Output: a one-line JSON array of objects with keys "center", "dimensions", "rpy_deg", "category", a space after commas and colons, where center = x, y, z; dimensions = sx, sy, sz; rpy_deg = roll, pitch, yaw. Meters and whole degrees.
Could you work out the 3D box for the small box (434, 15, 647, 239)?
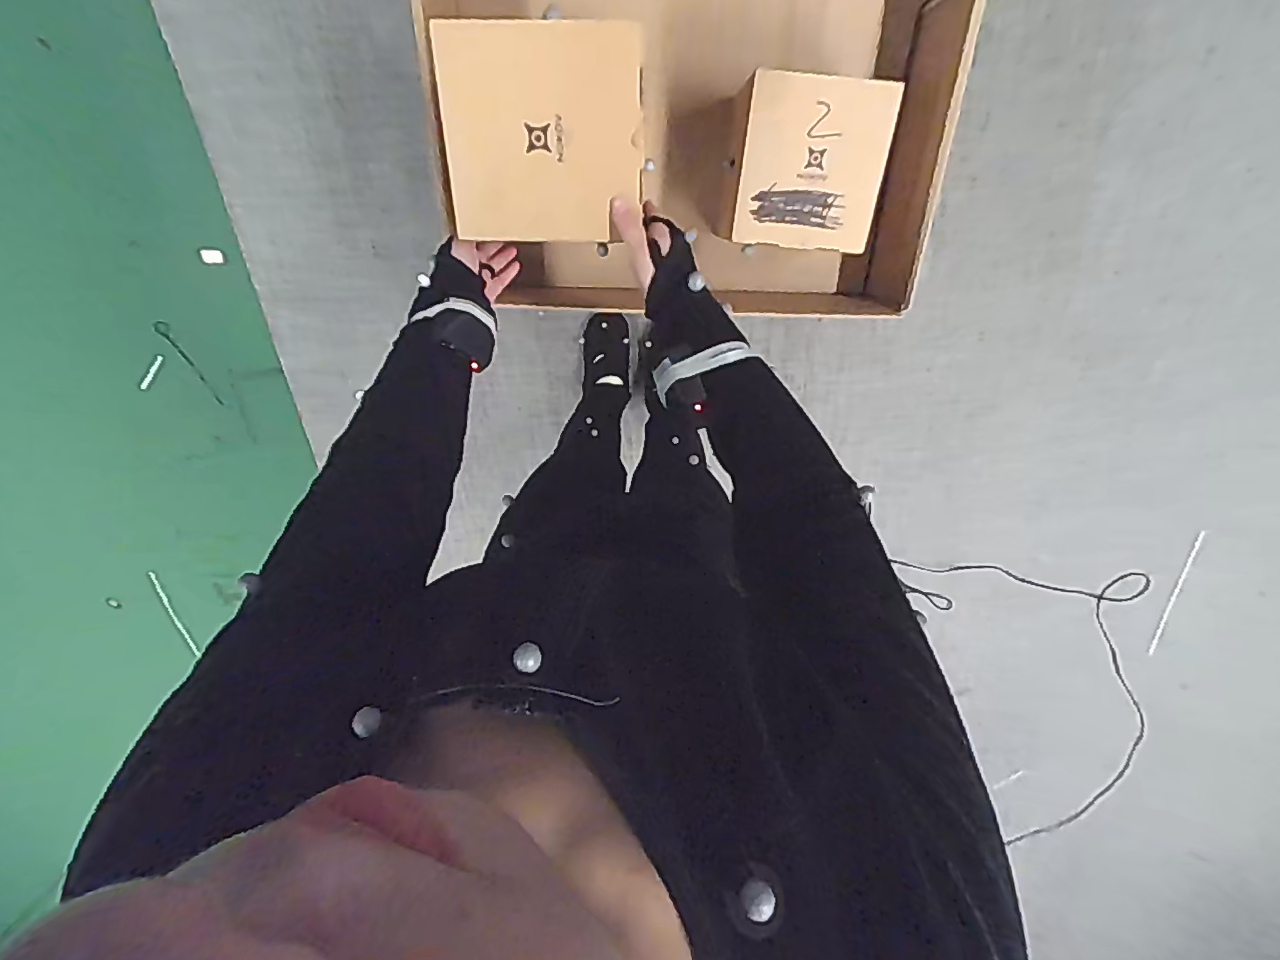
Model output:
[{"center": [-0.083, -0.337, 0.545], "dimensions": [0.179, 0.176, 0.168], "rpy_deg": [0, 117, -1], "category": "small box"}]
